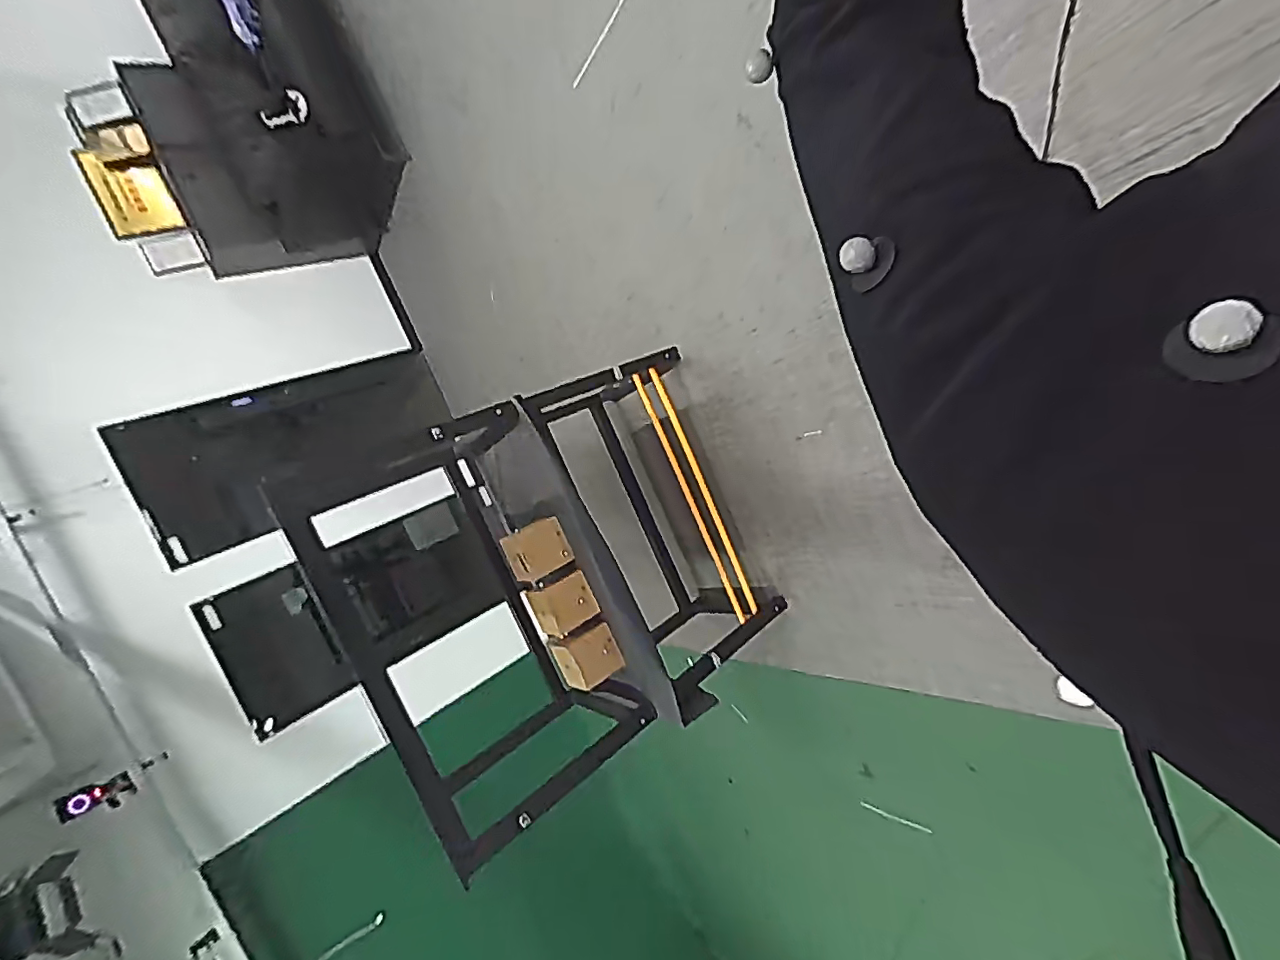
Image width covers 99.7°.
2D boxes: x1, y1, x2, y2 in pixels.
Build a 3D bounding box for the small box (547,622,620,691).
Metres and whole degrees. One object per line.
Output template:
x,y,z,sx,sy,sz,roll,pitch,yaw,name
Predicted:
-0.198,0.616,1.906,0.179,0.176,0.168,-22,94,56,small box
